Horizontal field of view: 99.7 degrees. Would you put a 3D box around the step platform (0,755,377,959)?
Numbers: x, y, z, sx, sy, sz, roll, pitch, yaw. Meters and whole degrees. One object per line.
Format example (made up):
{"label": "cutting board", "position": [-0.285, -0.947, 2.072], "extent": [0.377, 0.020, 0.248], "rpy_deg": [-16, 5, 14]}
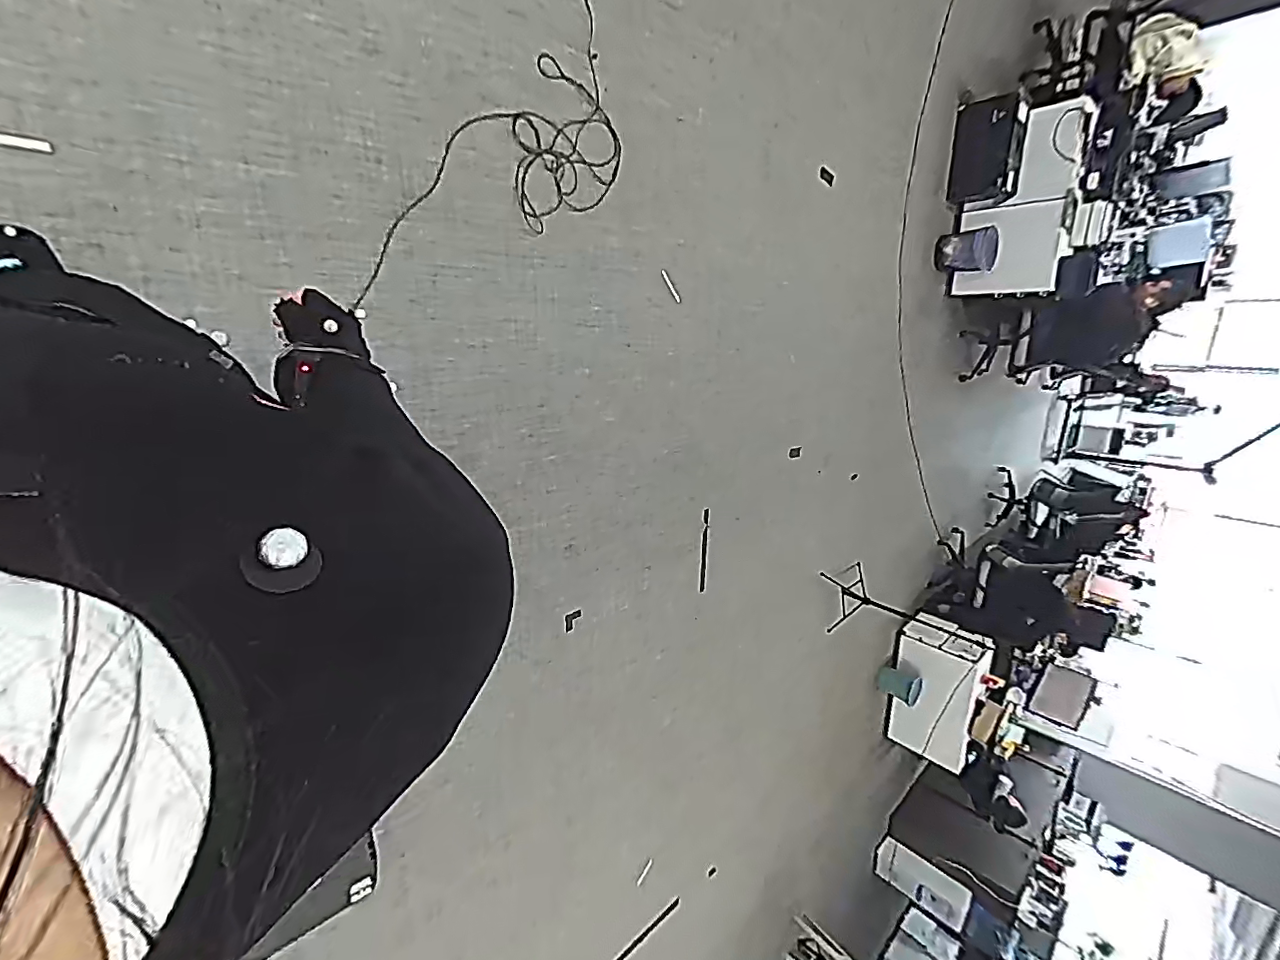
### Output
{"label": "step platform", "position": [-0.995, 0.967, 1.265], "extent": [0.684, 0.204, 0.286], "rpy_deg": [-15, 111, -39]}
